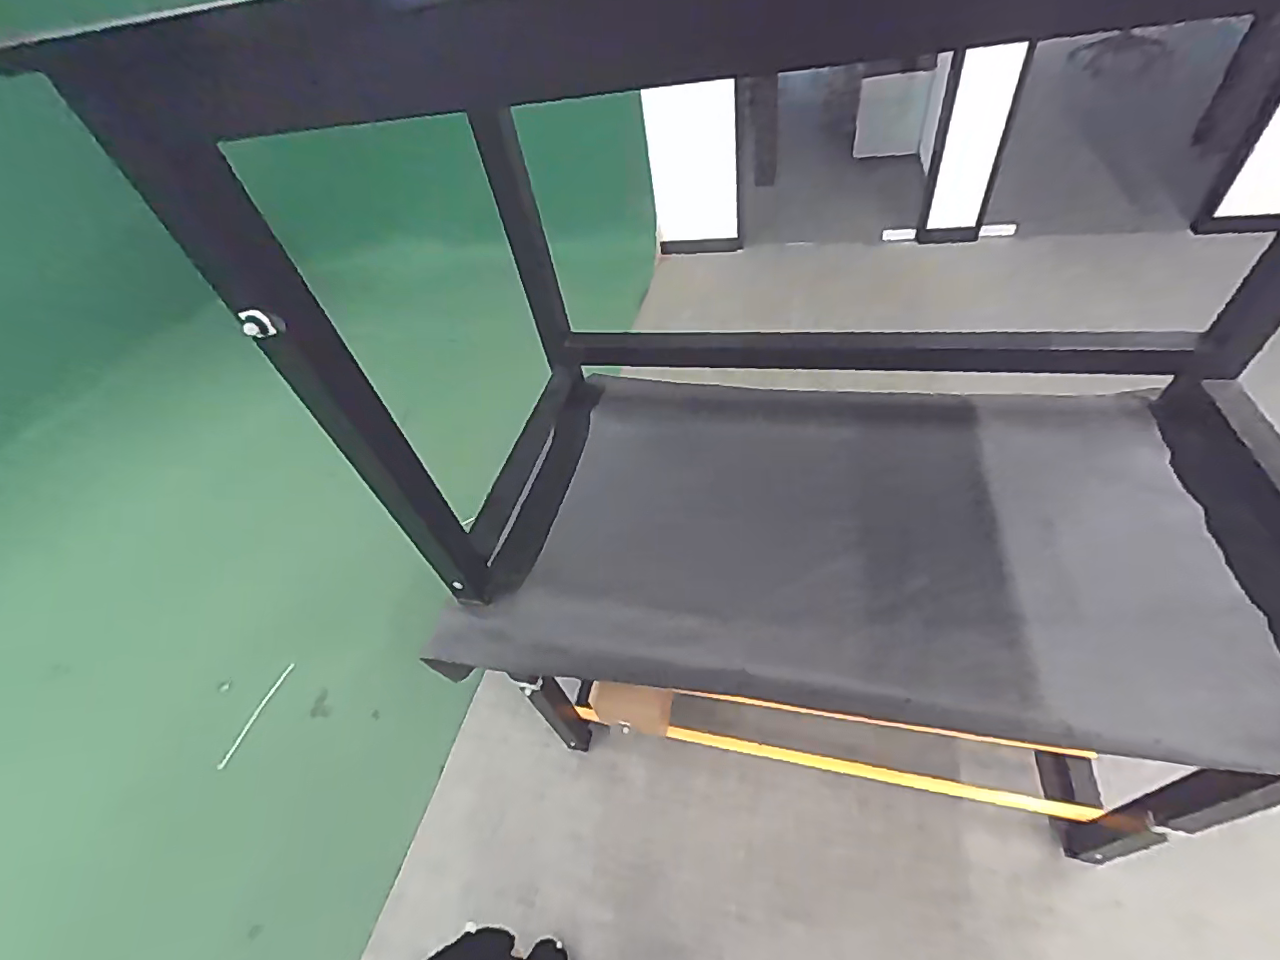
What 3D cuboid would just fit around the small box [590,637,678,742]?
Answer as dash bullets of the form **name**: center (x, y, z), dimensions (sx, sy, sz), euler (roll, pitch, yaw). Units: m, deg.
- **small box**: center (-0.006, 0.506, 1.308), dimensions (0.168, 0.176, 0.179), euler (4, 50, 15)
